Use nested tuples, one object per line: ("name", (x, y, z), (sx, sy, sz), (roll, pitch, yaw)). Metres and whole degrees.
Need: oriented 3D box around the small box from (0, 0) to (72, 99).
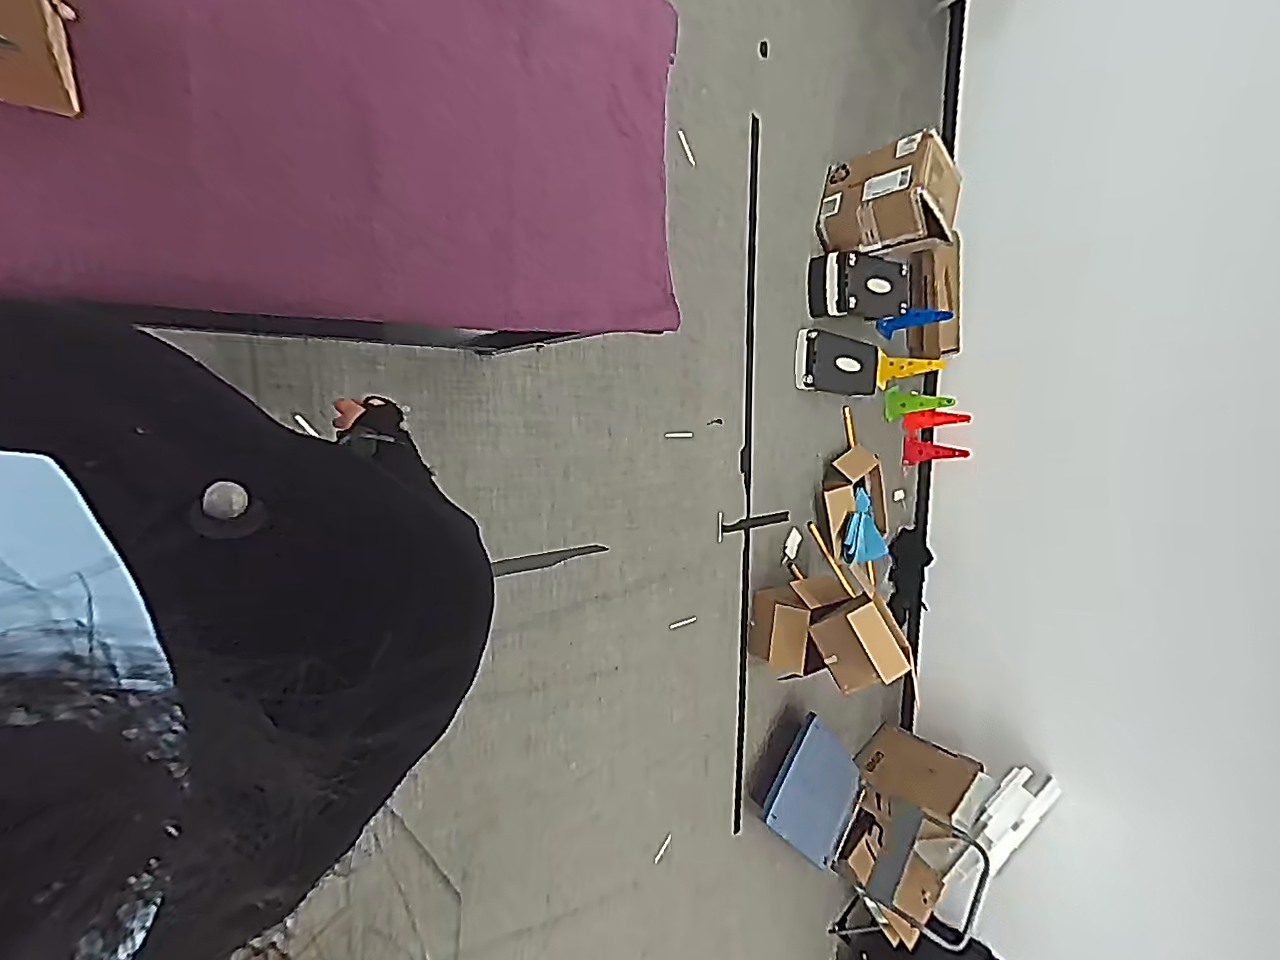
("small box", (-0.573, -0.428, 0.405), (0.179, 0.176, 0.168), (-10, 103, -41))
